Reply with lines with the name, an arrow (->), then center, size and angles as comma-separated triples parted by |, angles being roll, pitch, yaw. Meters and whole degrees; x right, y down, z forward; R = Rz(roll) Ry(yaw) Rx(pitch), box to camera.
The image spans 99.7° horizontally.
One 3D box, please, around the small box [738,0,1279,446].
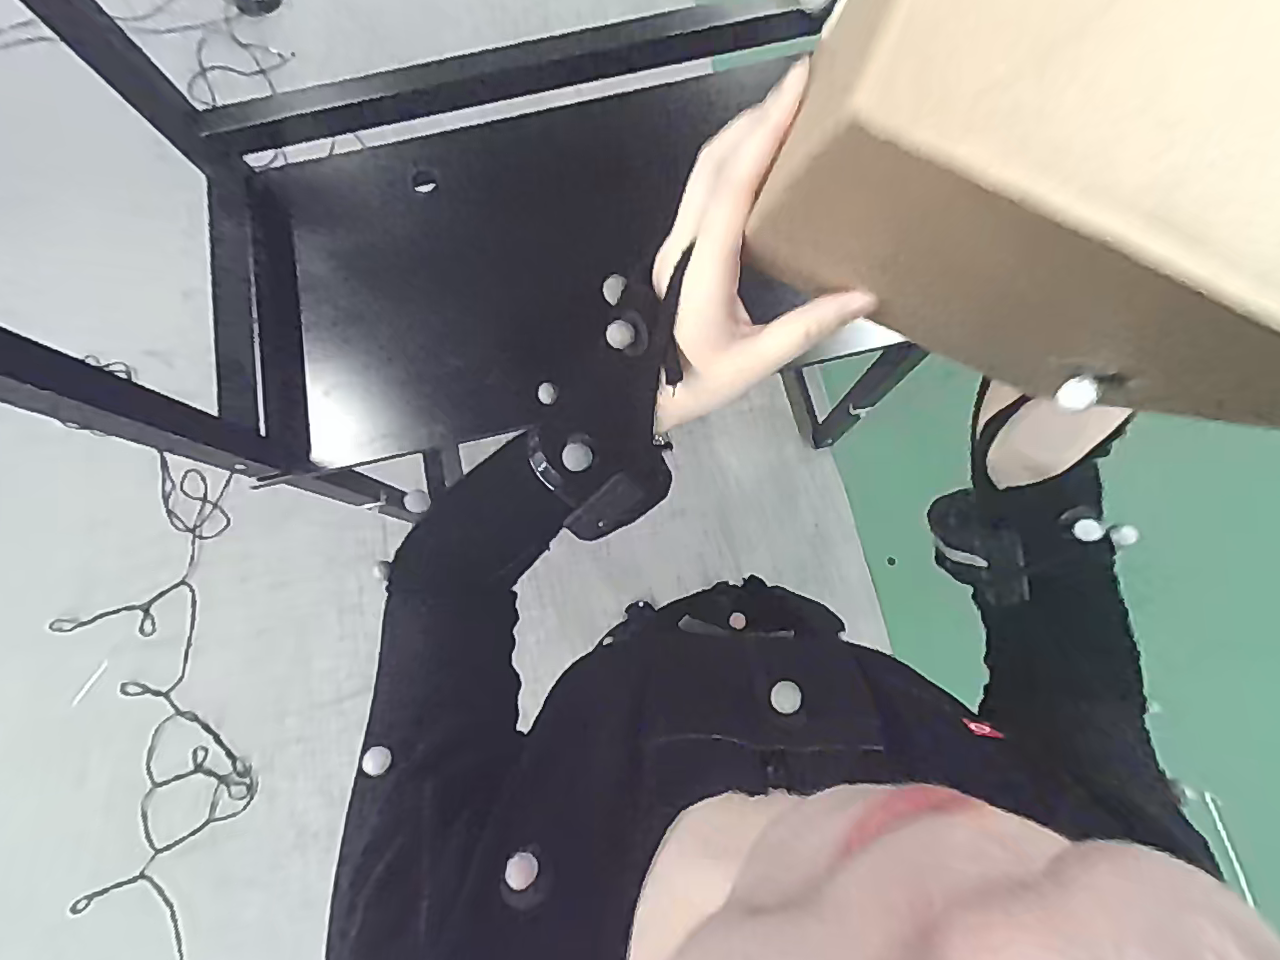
small box -> 0.154, -0.128, 0.189 | 0.179, 0.176, 0.168 | 23, 103, -4
